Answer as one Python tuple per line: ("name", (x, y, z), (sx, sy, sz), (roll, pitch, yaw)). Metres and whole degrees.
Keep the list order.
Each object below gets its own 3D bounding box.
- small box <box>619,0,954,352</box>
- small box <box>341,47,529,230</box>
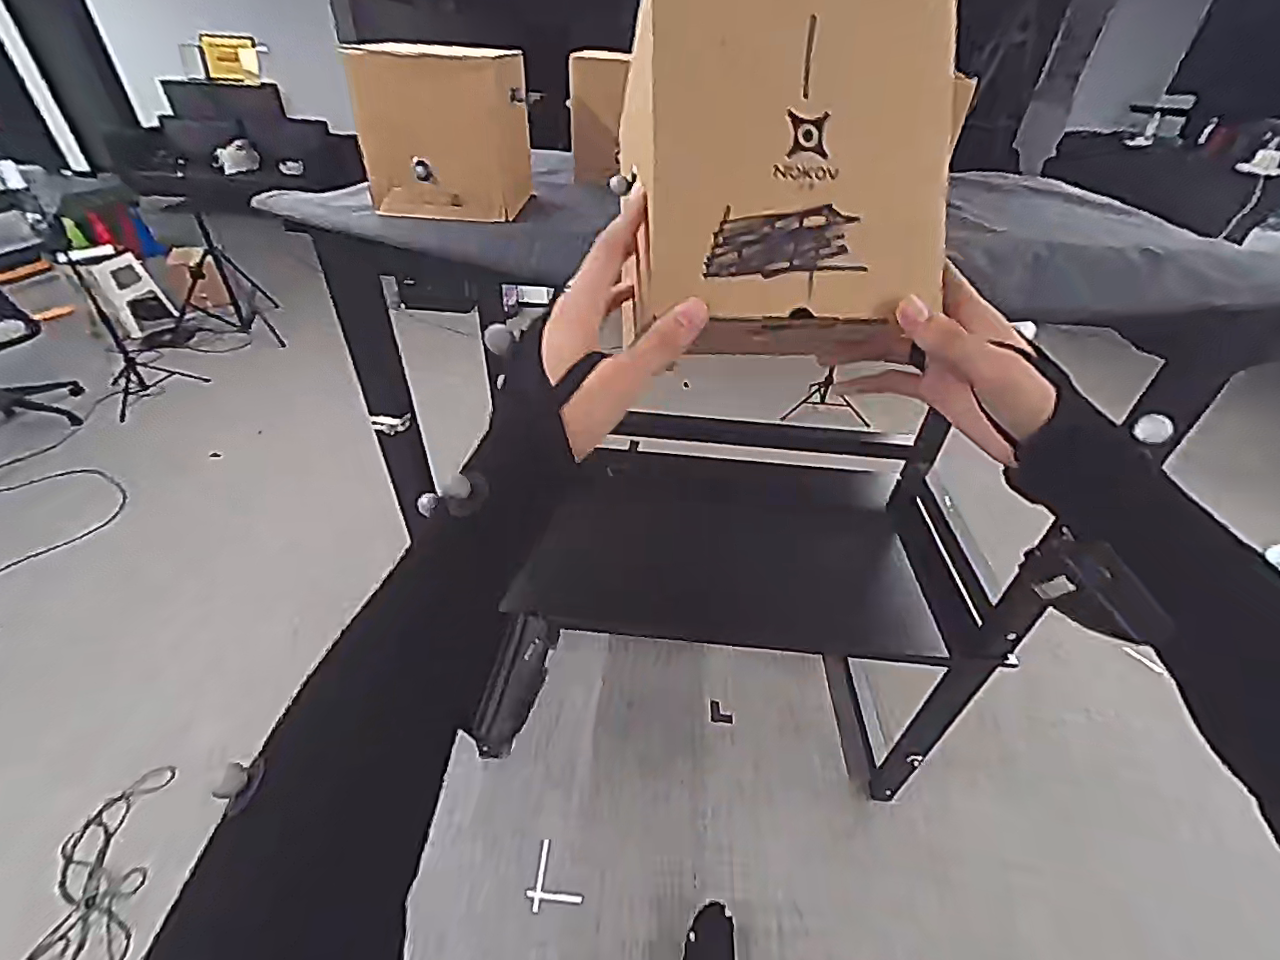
("small box", (0.076, -0.183, 0.365), (0.168, 0.179, 0.176), (-2, 6, -7))
("small box", (-0.238, -0.432, 0.684), (0.168, 0.176, 0.179), (3, 40, -1))
